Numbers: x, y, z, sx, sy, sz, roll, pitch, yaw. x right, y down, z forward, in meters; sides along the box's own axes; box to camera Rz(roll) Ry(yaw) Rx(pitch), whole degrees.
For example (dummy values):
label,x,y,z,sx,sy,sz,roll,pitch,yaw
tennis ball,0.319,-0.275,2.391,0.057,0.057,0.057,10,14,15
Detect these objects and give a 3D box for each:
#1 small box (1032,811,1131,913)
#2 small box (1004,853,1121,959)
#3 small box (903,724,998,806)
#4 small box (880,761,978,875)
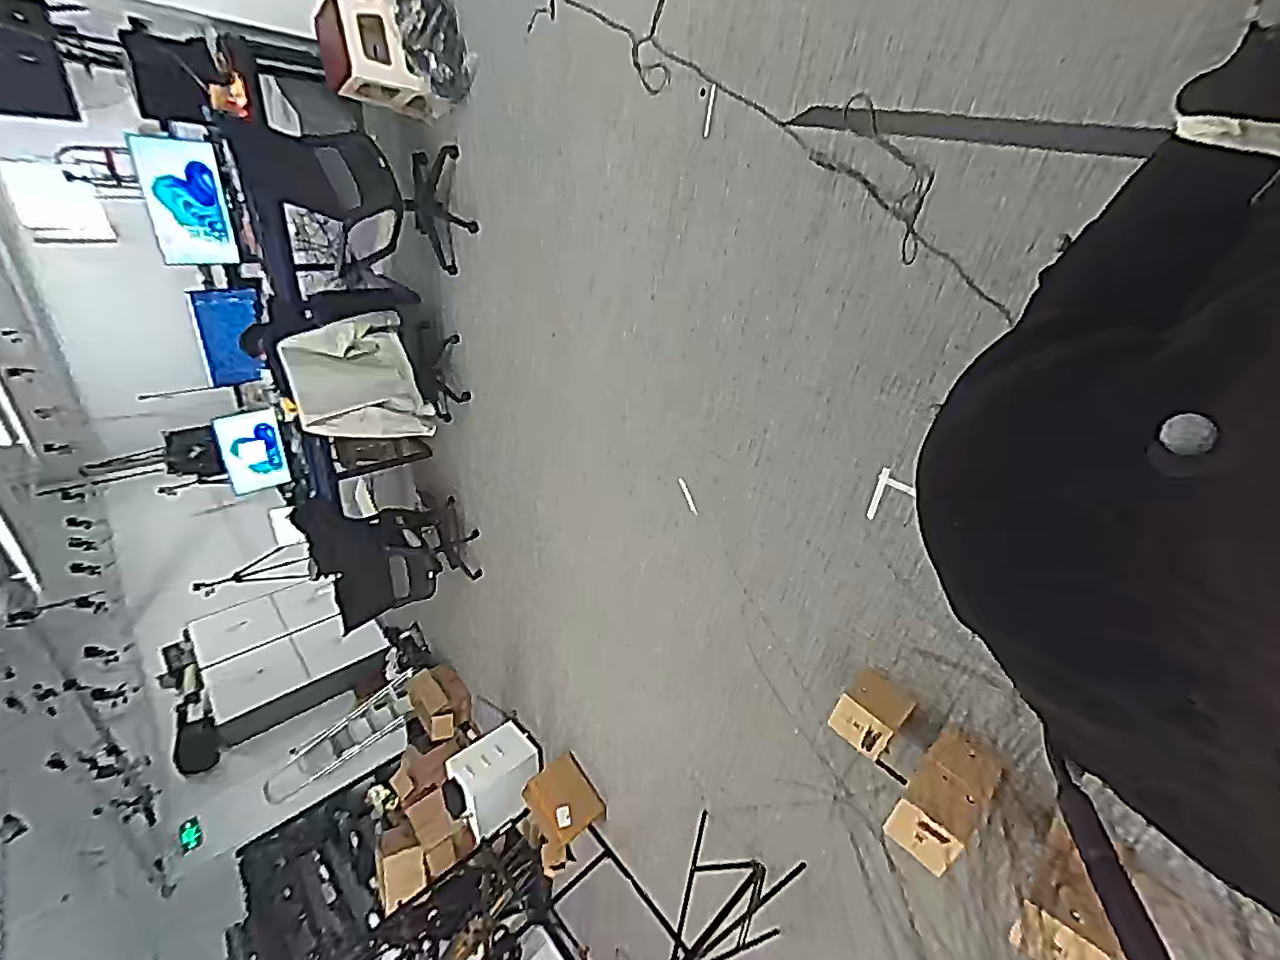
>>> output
label,x,y,z,sx,sy,sz,roll,pitch,yaw
small box,1.149,1.024,1.416,0.179,0.176,0.168,19,120,42
small box,1.029,1.069,1.314,0.179,0.176,0.168,22,121,42
small box,0.923,0.872,1.602,0.168,0.176,0.179,35,130,33
small box,0.806,0.928,1.500,0.168,0.176,0.179,32,130,36
